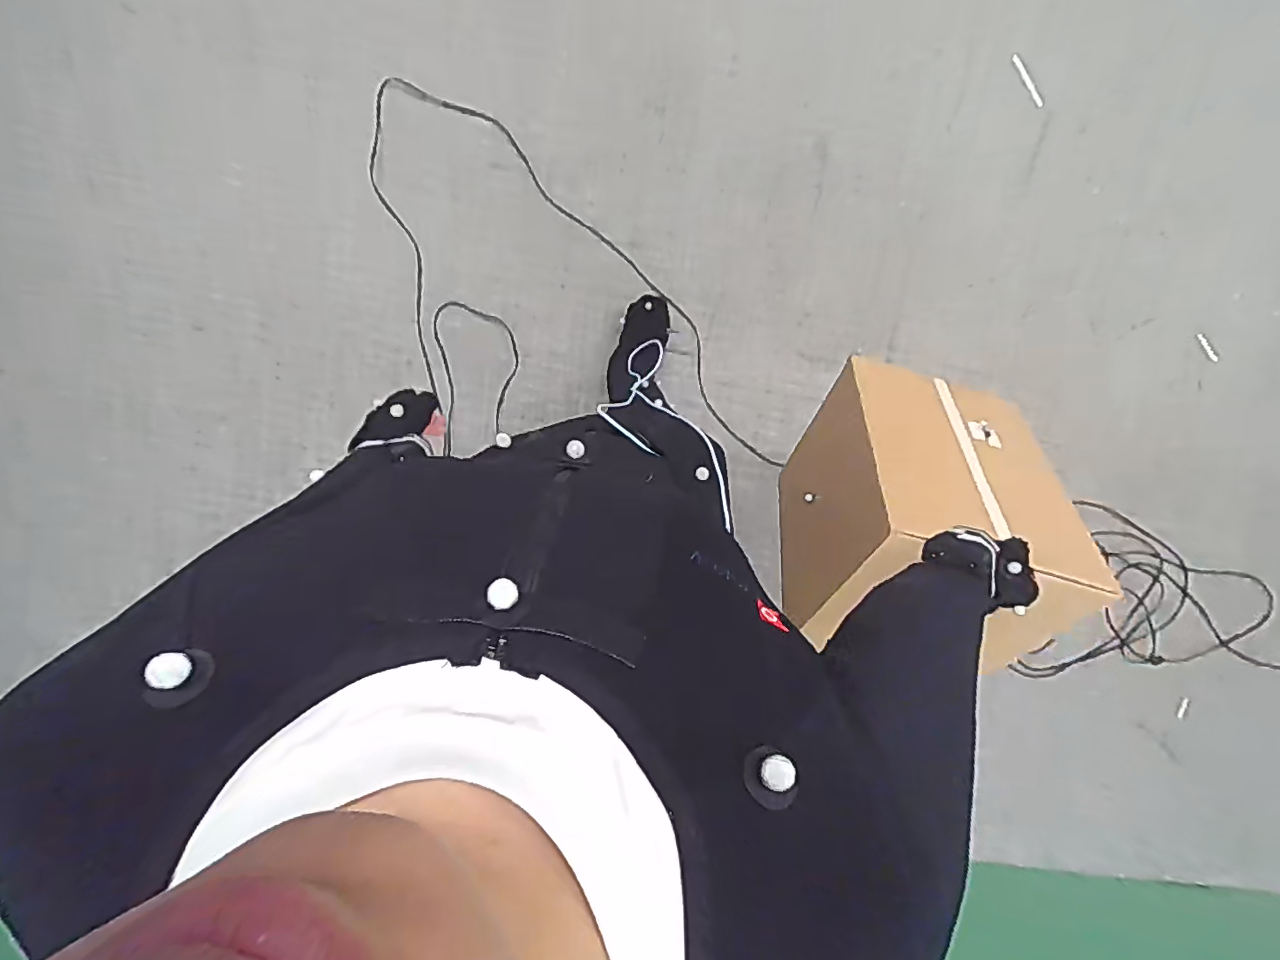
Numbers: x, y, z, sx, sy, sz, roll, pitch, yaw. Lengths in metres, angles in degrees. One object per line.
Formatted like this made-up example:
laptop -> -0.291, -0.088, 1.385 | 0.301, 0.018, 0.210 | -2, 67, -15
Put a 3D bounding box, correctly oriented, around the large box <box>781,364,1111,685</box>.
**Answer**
large box -> 0.449, 0.071, 0.921 | 0.320, 0.408, 0.320 | 16, 134, -3
